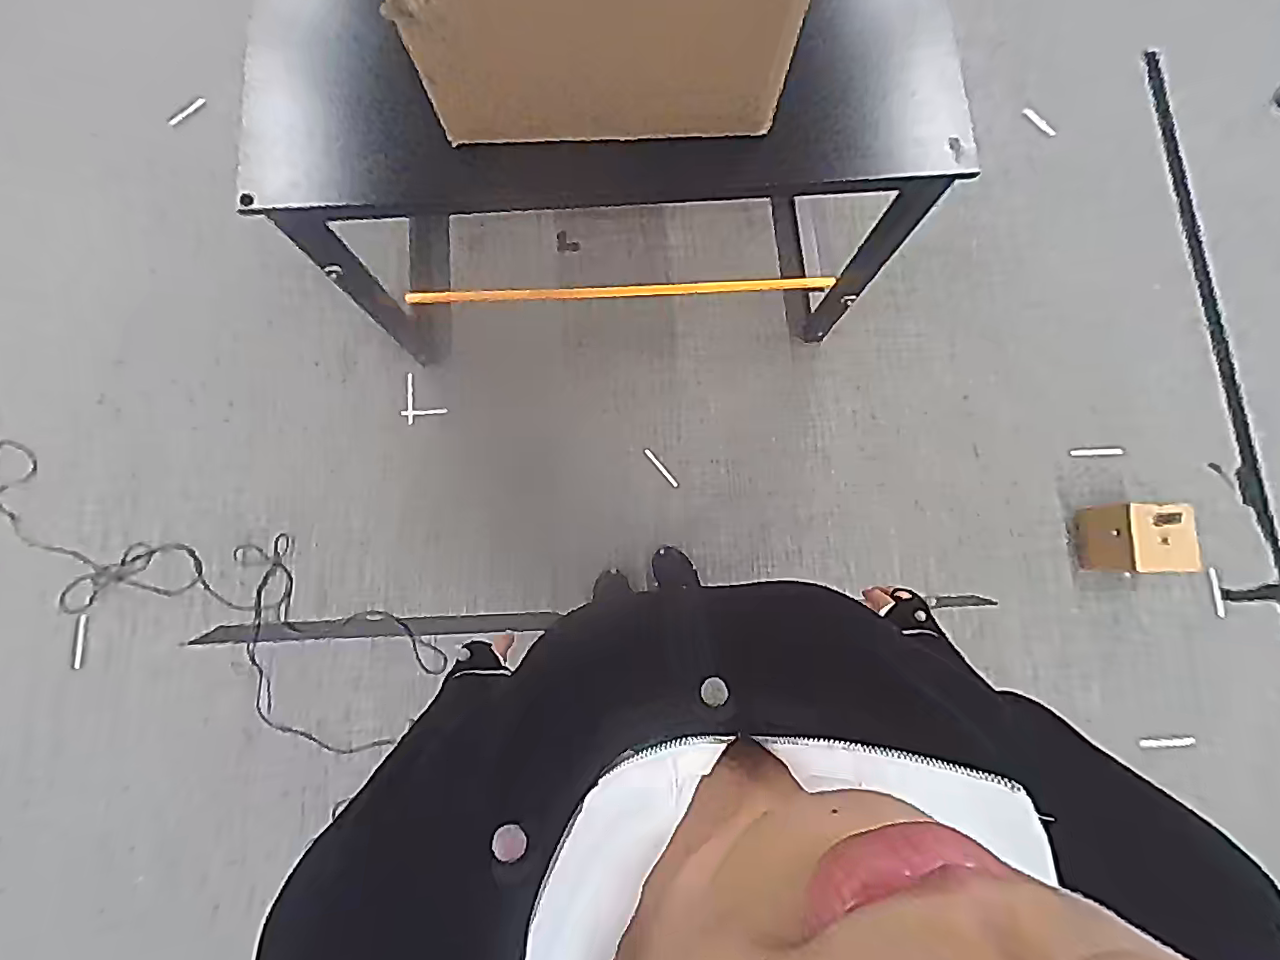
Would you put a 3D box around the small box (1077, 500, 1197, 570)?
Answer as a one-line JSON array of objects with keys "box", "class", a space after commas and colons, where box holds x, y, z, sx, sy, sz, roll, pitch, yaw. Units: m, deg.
[{"box": [1.326, 0.152, 1.457, 0.168, 0.176, 0.179, 0, 82, -1], "class": "small box"}]
